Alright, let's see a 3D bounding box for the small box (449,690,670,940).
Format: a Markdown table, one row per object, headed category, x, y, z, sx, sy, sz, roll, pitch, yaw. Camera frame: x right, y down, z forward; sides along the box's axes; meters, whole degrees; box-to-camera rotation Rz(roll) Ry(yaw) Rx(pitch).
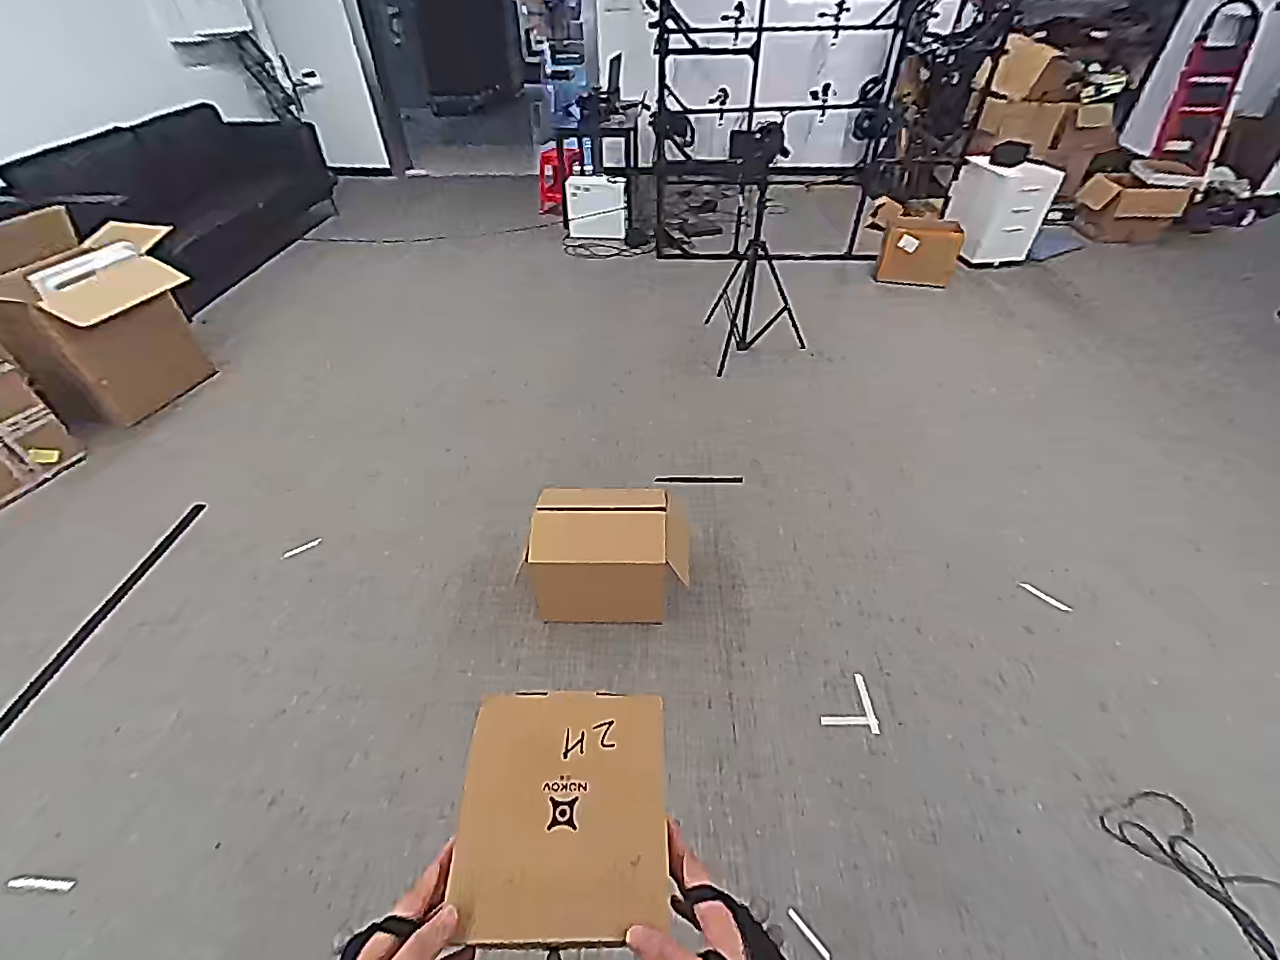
| category | x | y | z | sx | sy | sz | roll | pitch | yaw |
| --- | --- | --- | --- | --- | --- | --- | --- | --- | --- |
| small box | -0.062 | 0.314 | 0.505 | 0.168 | 0.176 | 0.179 | 2 | 47 | -4 |
